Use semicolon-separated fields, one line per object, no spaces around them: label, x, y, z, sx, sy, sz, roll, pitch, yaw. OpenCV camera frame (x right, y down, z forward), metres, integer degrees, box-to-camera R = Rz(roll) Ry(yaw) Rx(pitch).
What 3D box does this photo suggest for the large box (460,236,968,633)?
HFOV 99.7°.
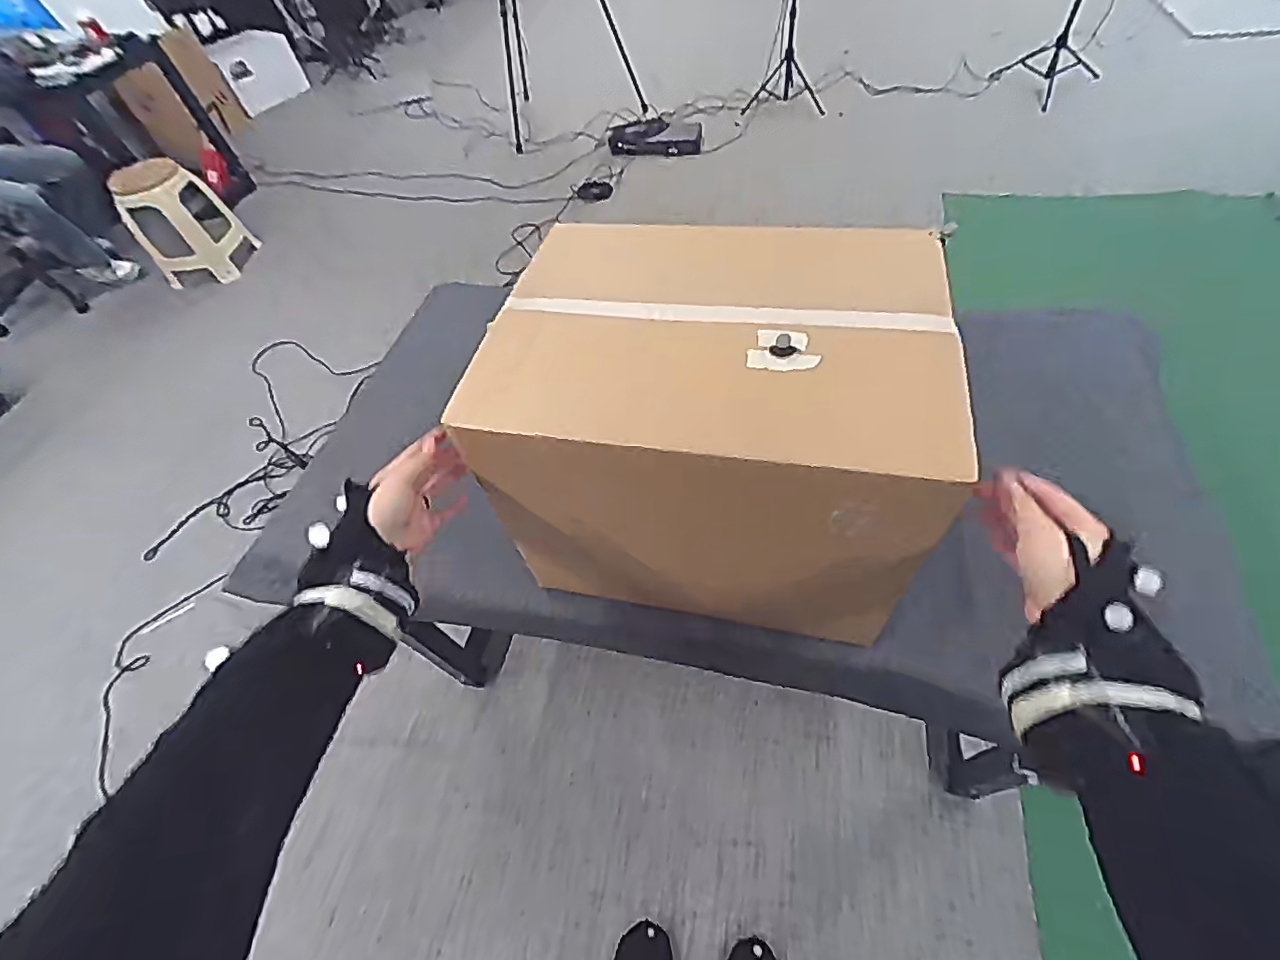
large box;0.082;-0.054;0.620;0.408;0.320;0.320;7;55;12
